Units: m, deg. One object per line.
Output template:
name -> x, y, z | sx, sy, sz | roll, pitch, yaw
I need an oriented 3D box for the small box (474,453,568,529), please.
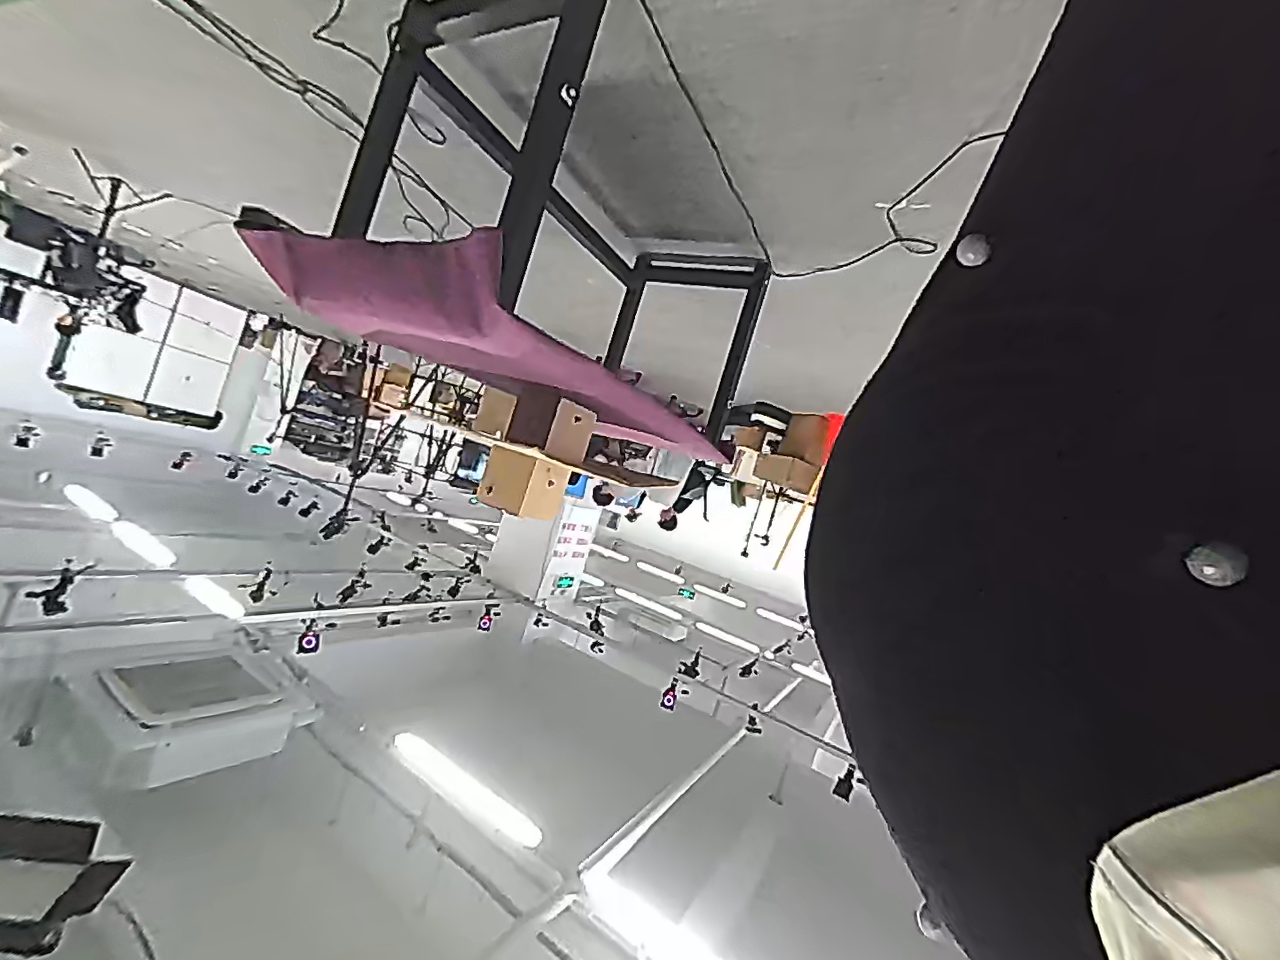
small box -> -0.334, 0.029, 1.547 | 0.179, 0.176, 0.168 | 16, 177, 29
